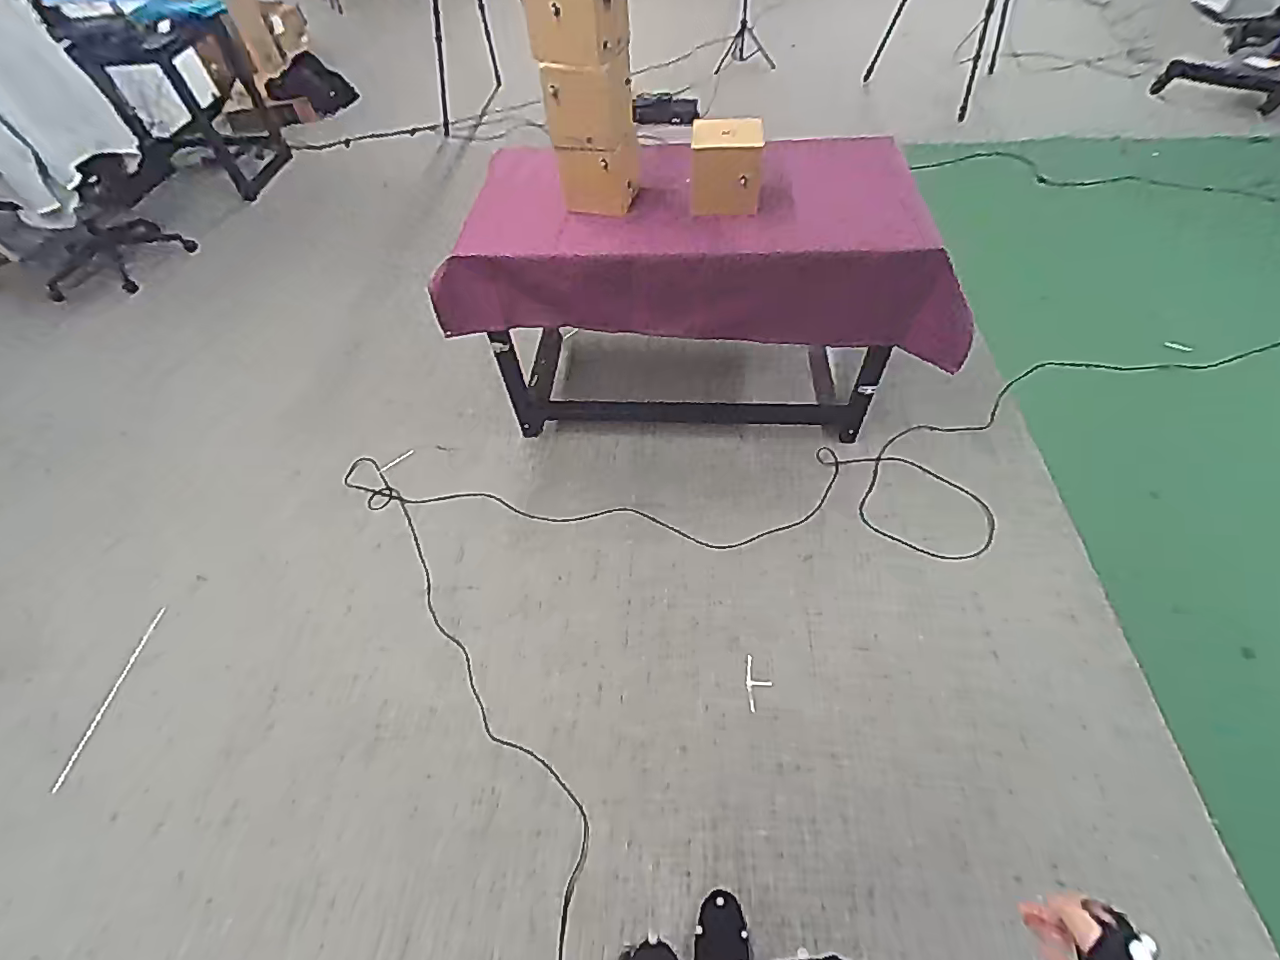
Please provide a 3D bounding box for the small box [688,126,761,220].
[{"bbox_3d":[0.219,-0.803,1.422,0.179,0.176,0.168,3,53,7],"label":"small box"}]

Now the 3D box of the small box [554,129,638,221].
[{"bbox_3d":[-0.112,-0.822,1.462,0.179,0.176,0.168,11,55,11],"label":"small box"}]

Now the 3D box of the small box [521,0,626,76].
[{"bbox_3d":[-0.142,-1.032,1.210,0.179,0.176,0.168,16,55,16],"label":"small box"}]
